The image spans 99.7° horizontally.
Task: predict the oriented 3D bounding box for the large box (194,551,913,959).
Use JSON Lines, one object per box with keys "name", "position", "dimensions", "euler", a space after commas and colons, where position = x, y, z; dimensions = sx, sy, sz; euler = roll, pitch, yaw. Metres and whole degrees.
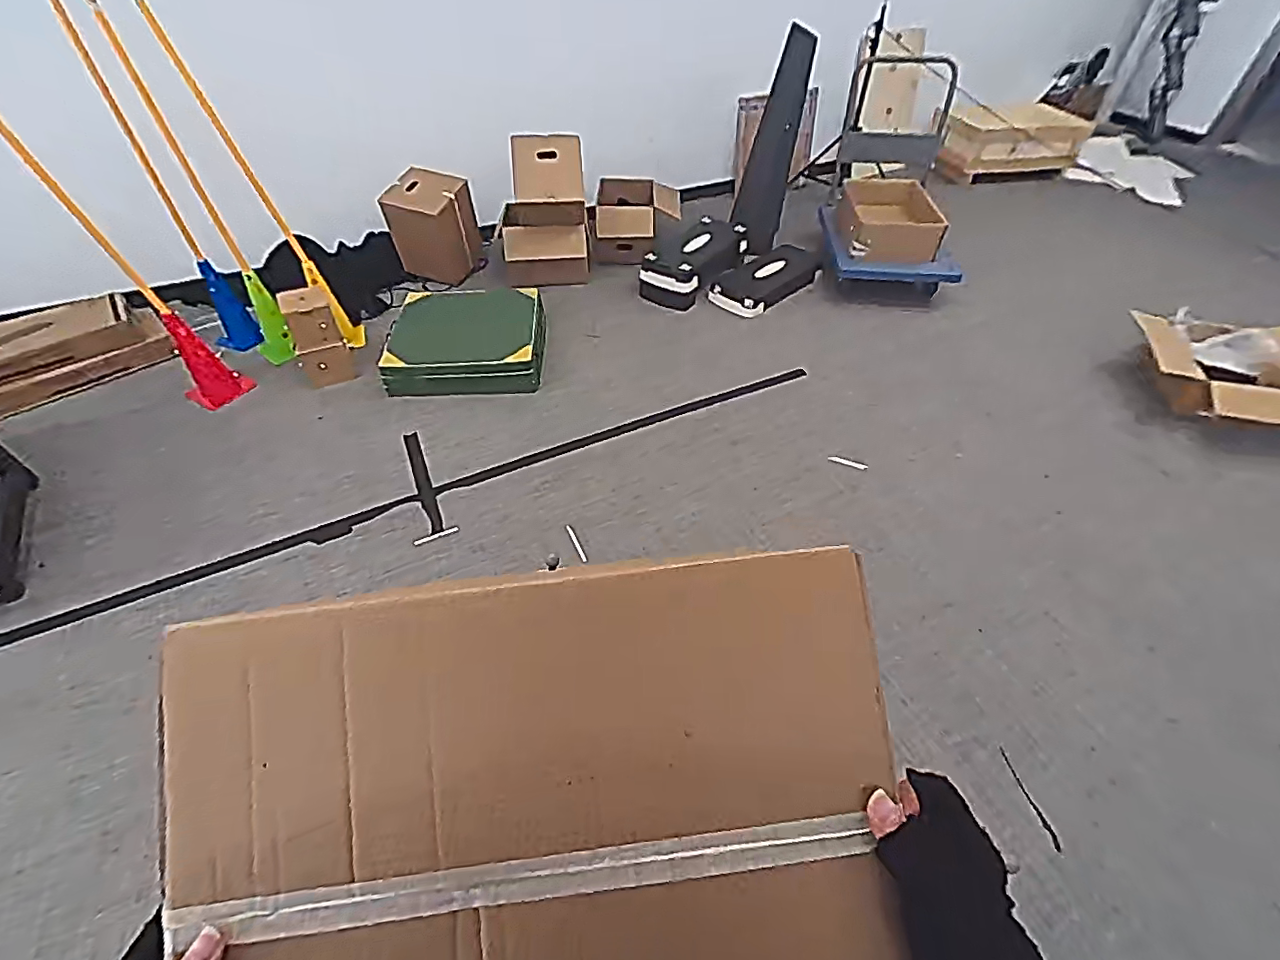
{"name": "large box", "position": [-0.052, 0.240, 0.459], "dimensions": [0.408, 0.320, 0.320], "euler": [-7, 83, -2]}
